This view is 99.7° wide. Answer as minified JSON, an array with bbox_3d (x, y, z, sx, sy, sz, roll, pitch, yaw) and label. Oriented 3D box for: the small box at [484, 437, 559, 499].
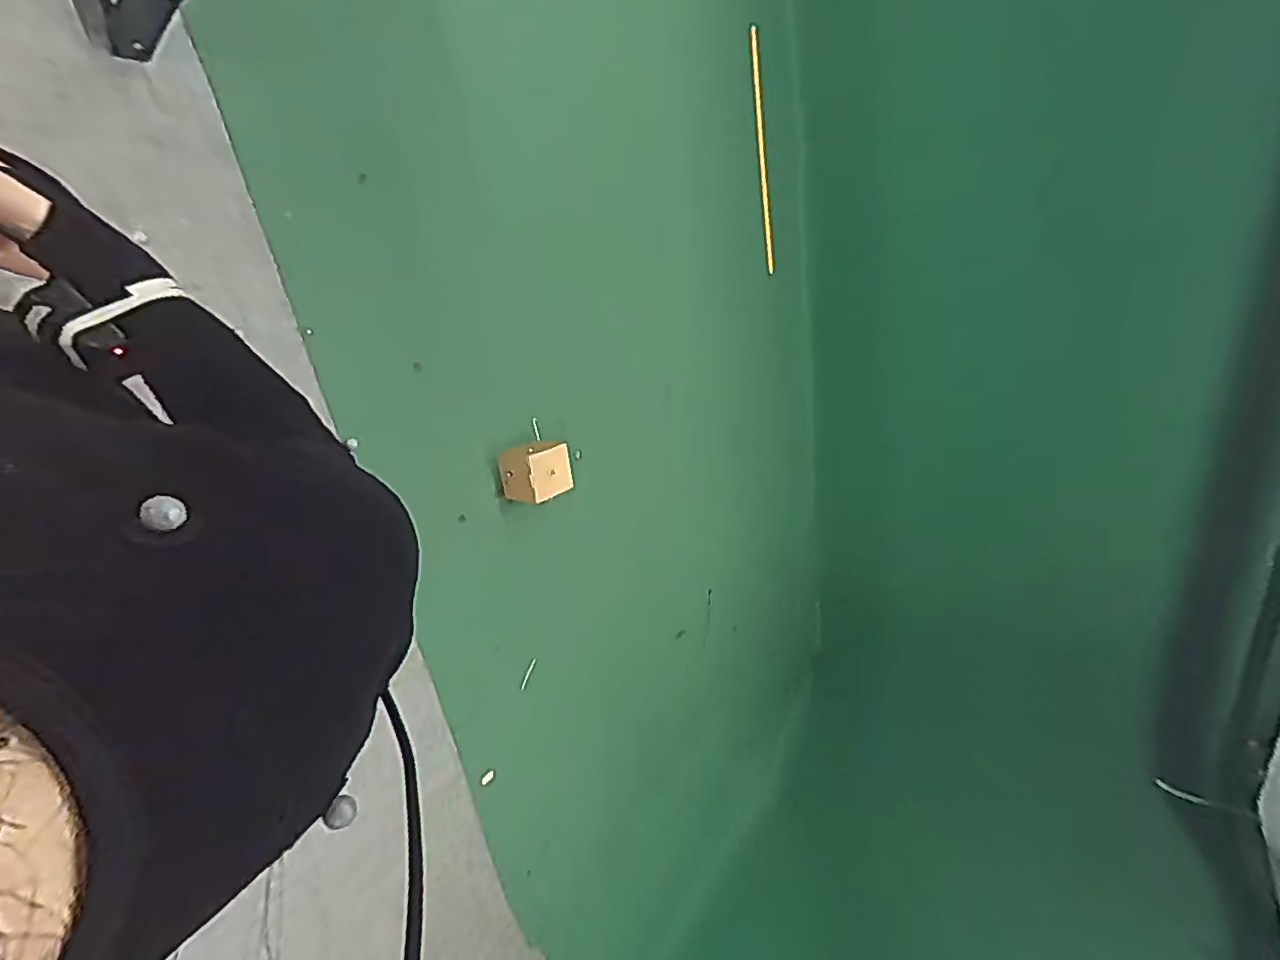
[{"bbox_3d":[-0.412,-0.047,1.881,0.179,0.176,0.168,-28,118,-47],"label":"small box"}]
